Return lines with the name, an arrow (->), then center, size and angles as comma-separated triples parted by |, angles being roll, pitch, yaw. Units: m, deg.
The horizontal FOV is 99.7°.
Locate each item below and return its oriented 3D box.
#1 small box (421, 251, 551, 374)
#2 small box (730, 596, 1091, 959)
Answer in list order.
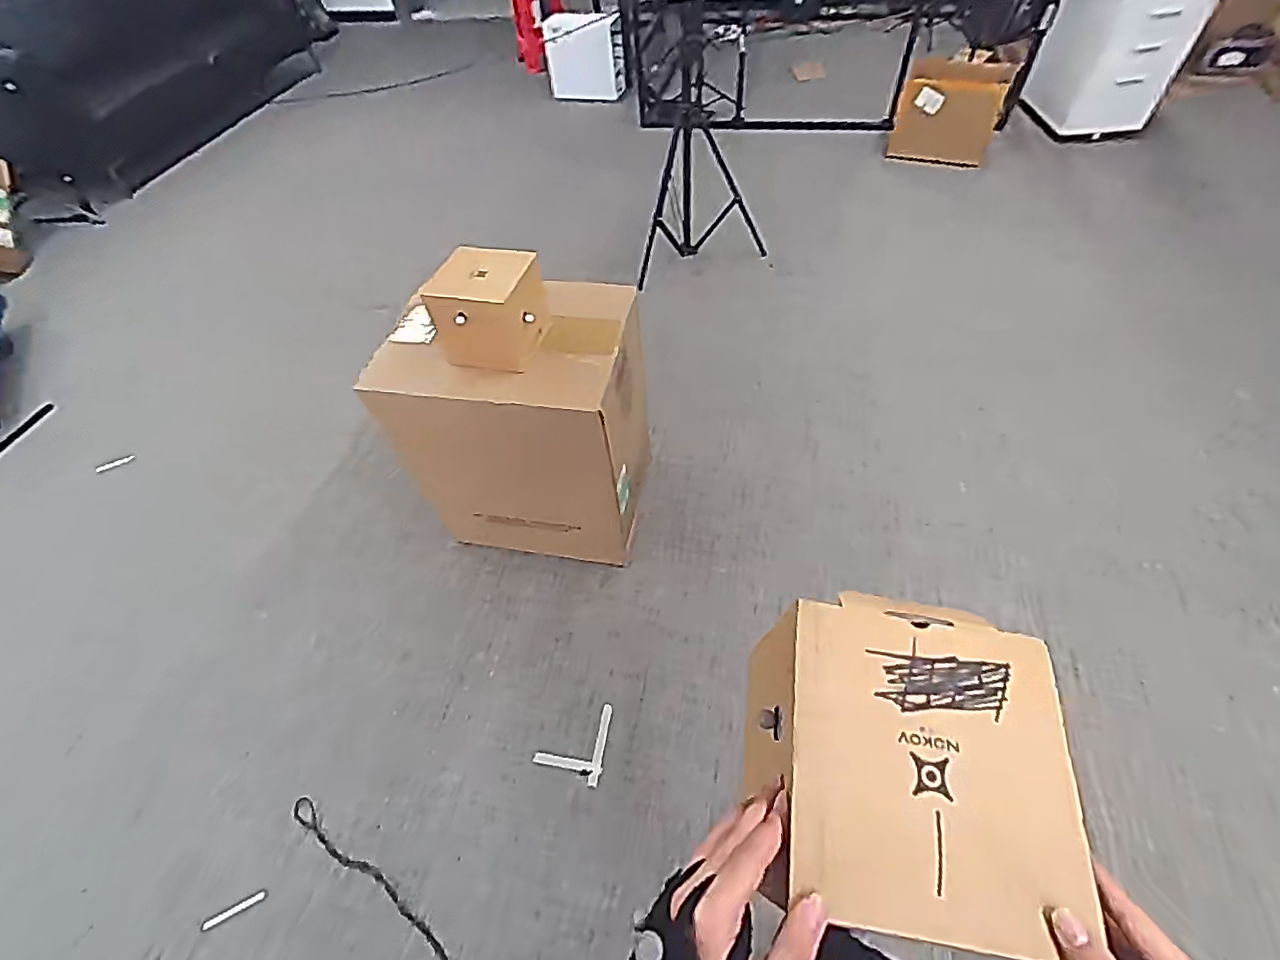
small box -> -0.297, -0.333, 1.088 | 0.179, 0.176, 0.168 | 10, 55, 13
small box -> 0.163, 0.205, 0.393 | 0.168, 0.176, 0.179 | 8, 60, 3
